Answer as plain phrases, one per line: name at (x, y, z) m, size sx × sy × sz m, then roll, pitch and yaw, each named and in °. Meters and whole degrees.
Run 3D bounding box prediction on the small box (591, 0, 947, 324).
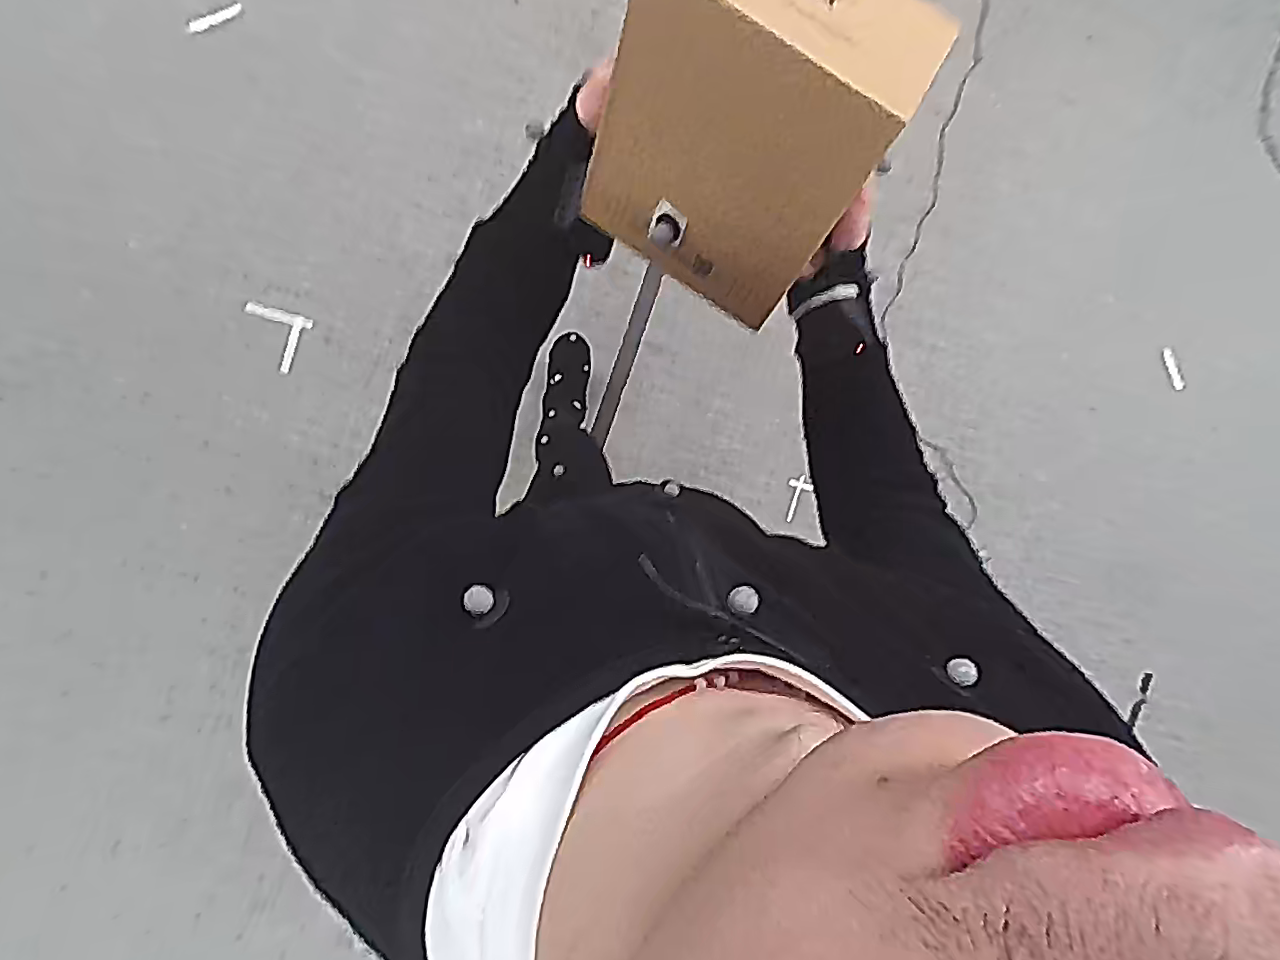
small box at (0.083, -0.255, 0.395) m, size 0.168 × 0.176 × 0.179 m, roll 33°, pitch 58°, yaw -1°
